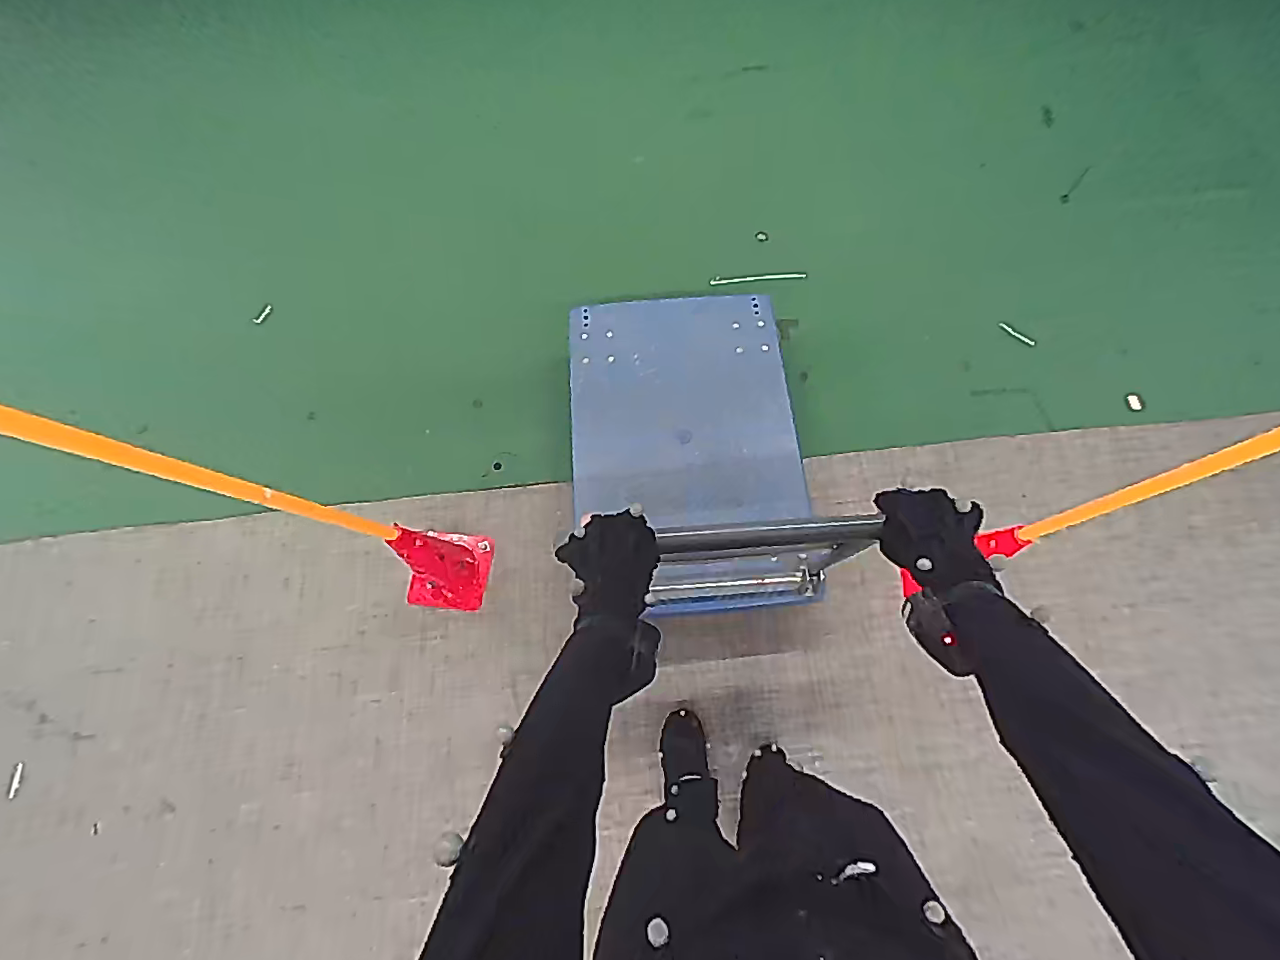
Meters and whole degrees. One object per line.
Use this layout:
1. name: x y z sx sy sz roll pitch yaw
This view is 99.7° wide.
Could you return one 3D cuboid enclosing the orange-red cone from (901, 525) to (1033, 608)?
1. orange-red cone: 0.782 0.171 1.256 0.198 0.360 0.199 4 70 4
